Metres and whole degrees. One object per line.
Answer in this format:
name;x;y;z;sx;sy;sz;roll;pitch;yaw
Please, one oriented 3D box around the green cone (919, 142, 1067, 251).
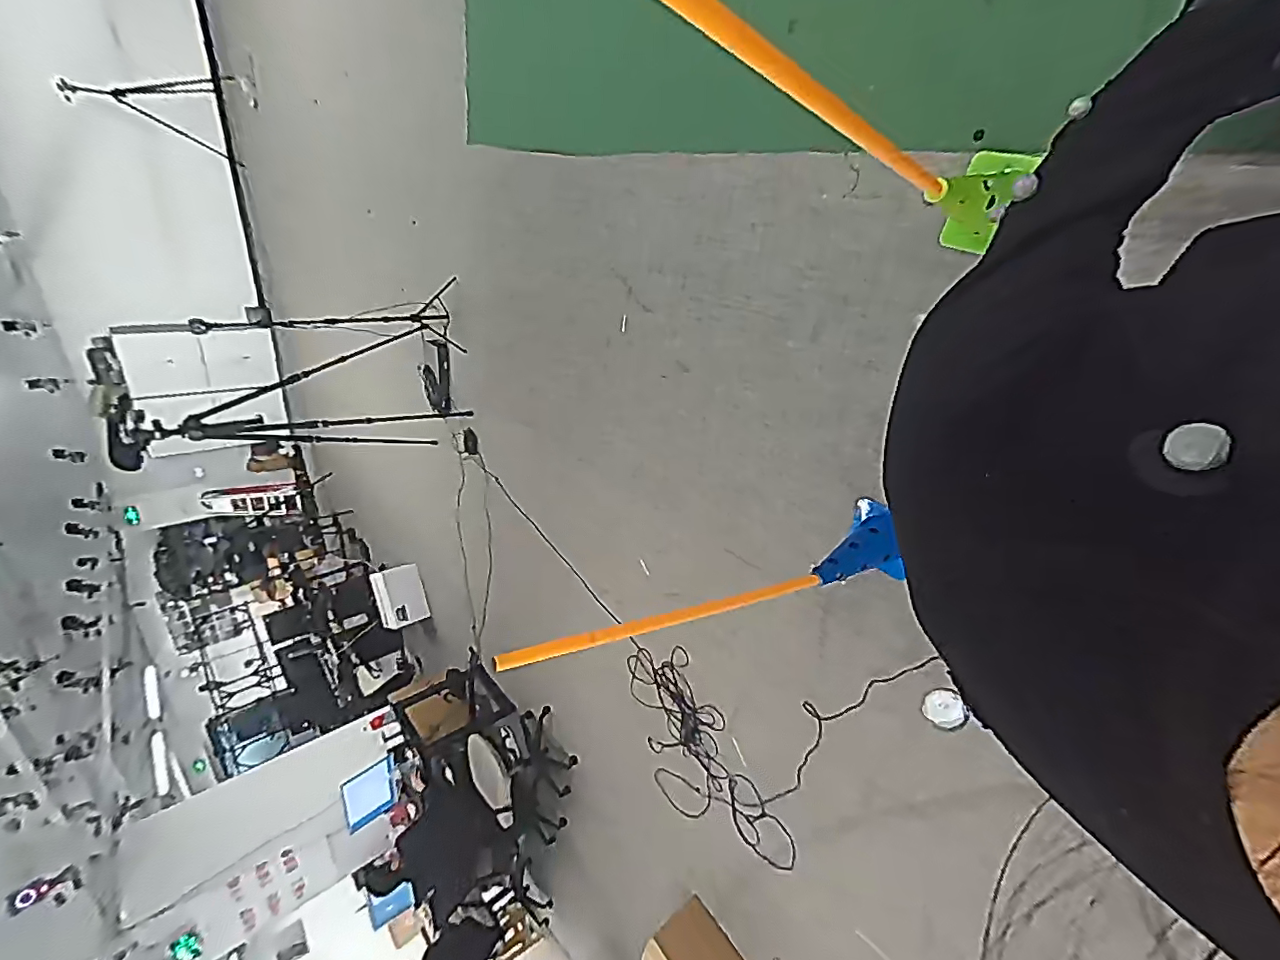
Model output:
green cone;0.675;-0.597;1.104;0.202;0.368;0.200;36;129;38
